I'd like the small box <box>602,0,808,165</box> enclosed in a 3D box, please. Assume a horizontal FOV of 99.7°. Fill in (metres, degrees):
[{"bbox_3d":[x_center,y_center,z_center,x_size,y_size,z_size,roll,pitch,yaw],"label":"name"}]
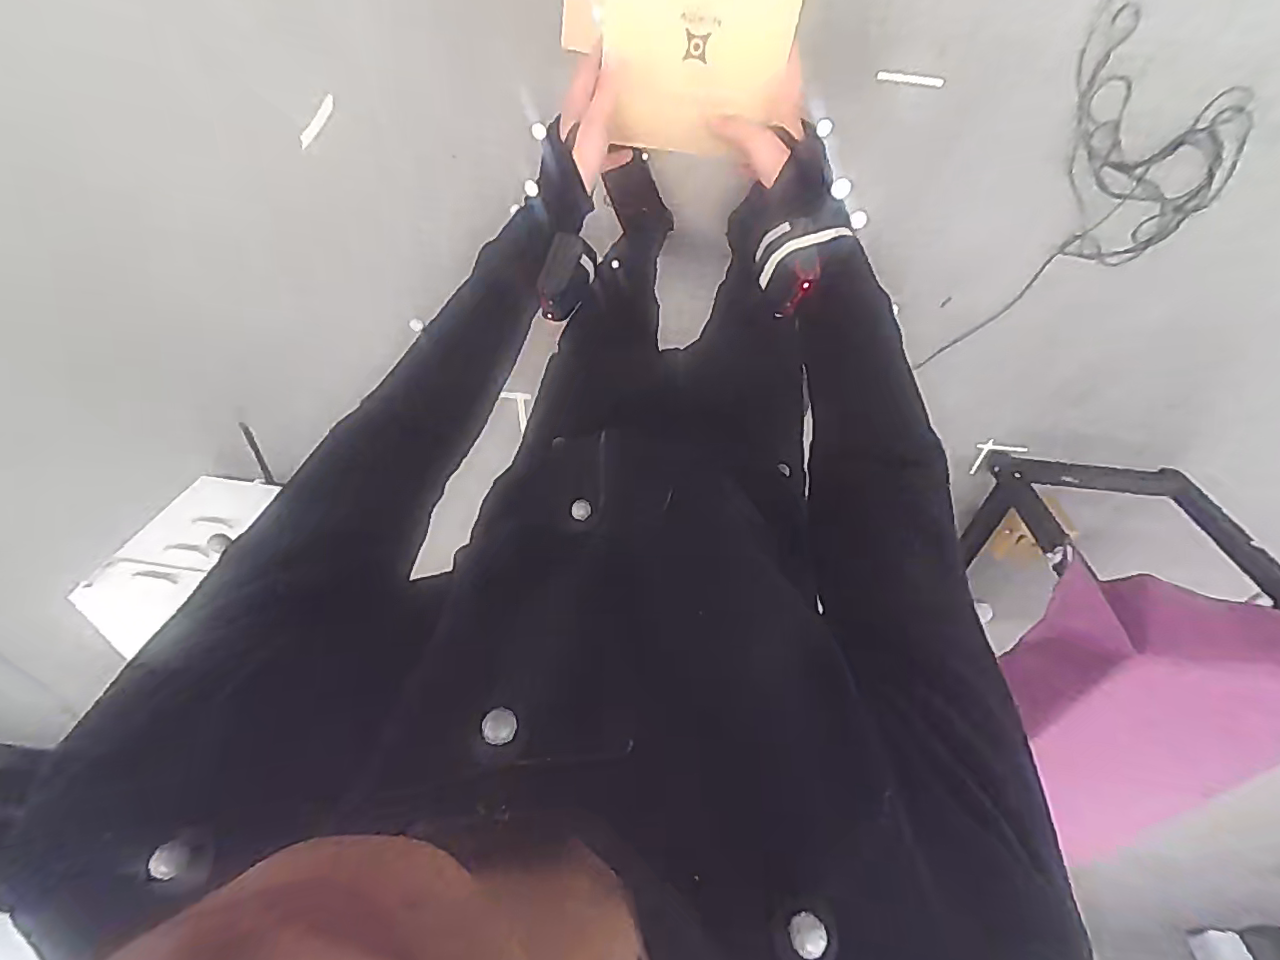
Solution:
[{"bbox_3d":[0.056,-0.436,0.522,0.168,0.176,0.179,6,136,-3],"label":"small box"}]
